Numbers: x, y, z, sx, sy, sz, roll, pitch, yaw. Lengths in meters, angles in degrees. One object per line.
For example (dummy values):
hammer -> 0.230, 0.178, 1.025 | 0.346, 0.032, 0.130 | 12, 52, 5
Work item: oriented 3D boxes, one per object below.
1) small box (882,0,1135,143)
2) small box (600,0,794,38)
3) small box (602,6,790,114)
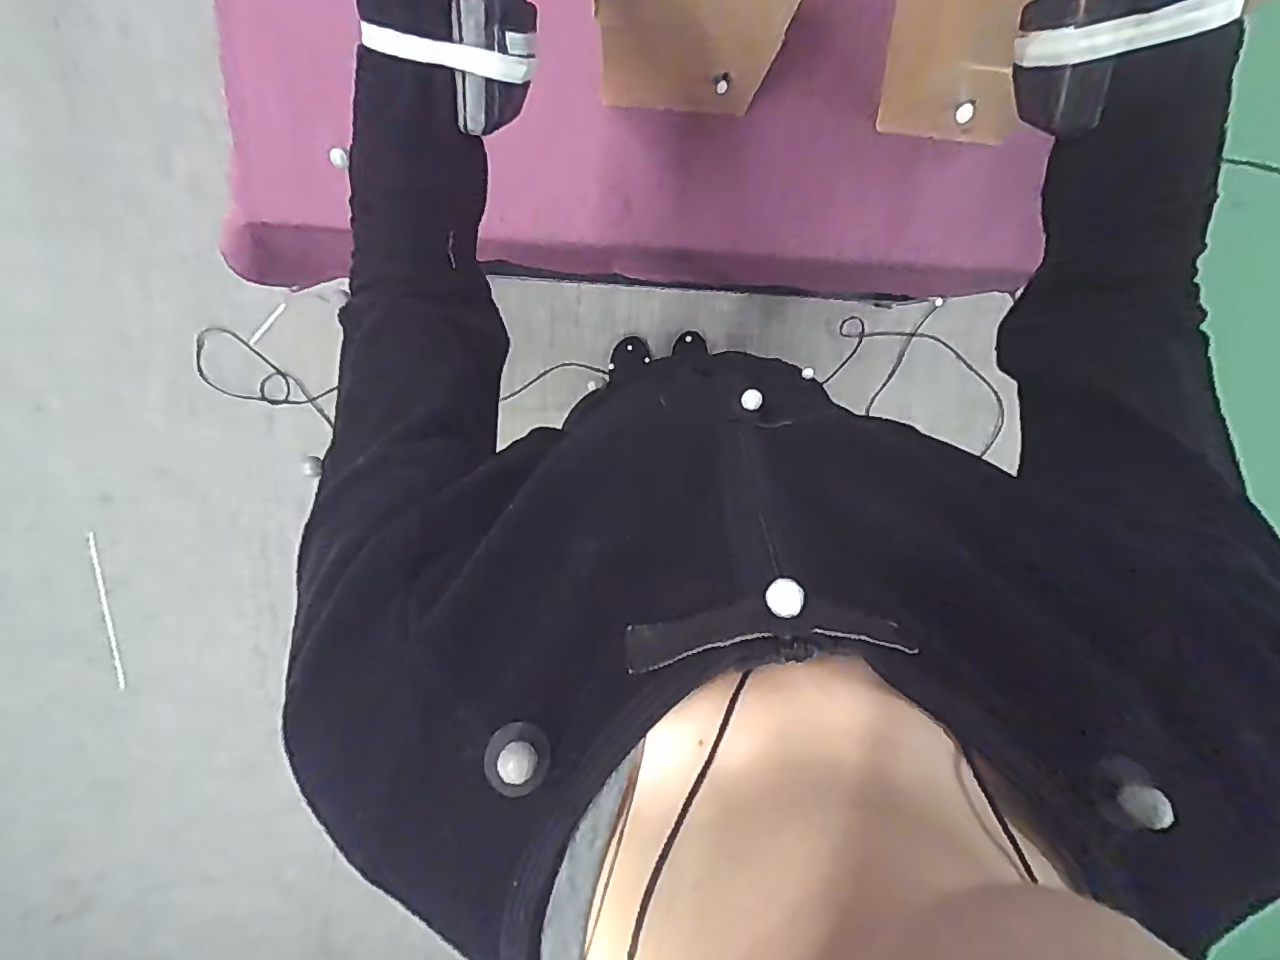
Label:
small box -> 0.387, -0.493, 0.583 | 0.168, 0.176, 0.179 | 5, 102, -3
small box -> 0.055, -0.475, 0.404 | 0.179, 0.176, 0.168 | 4, 102, -3
small box -> 0.053, -0.512, 0.564 | 0.179, 0.176, 0.168 | 3, 102, -3
